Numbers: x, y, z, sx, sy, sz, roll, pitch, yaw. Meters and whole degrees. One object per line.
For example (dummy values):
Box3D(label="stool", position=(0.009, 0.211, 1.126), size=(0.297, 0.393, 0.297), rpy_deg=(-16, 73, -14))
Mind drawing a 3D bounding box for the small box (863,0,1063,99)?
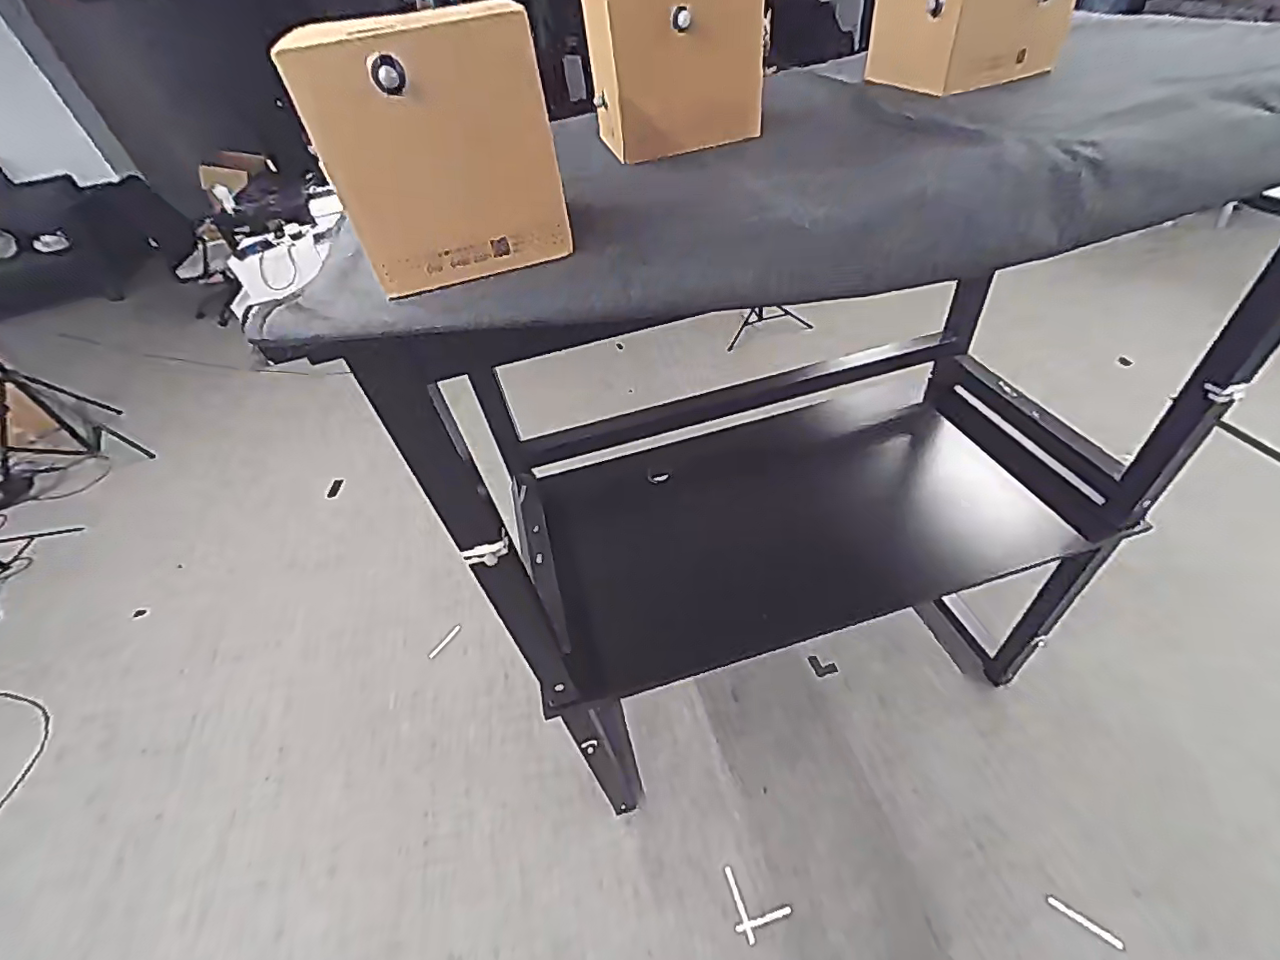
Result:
Box3D(label="small box", position=(0.417, -0.614, 0.698), size=(0.168, 0.176, 0.179), rpy_deg=(-17, 45, -7))

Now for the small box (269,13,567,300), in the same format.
Box3D(label="small box", position=(-0.172, -0.278, 0.465), size=(0.168, 0.176, 0.179), rpy_deg=(-17, 44, -8))

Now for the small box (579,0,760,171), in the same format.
Box3D(label="small box", position=(0.033, -0.504, 0.661), size=(0.179, 0.176, 0.168), rpy_deg=(-15, 45, -5))
